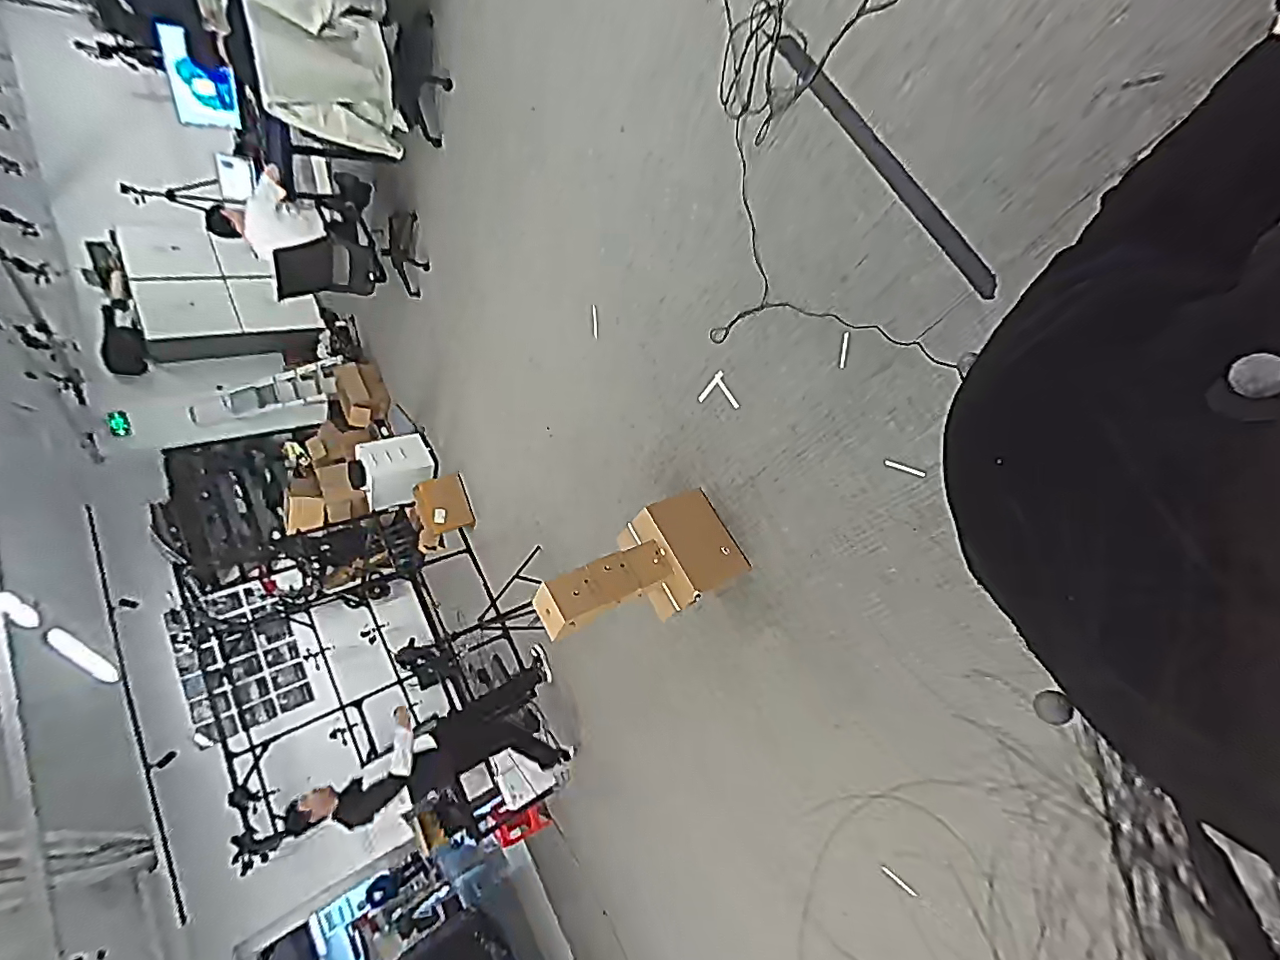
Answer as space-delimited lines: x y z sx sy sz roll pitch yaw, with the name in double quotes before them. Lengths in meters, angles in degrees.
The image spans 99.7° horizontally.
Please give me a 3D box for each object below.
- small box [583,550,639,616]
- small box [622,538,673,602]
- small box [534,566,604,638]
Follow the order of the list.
"small box" -0.124 0.384 2.022 0.168 0.176 0.179 59 143 19
"small box" 0.001 0.351 2.120 0.168 0.176 0.179 59 141 17
"small box" -0.251 0.430 1.927 0.168 0.176 0.179 56 141 23
